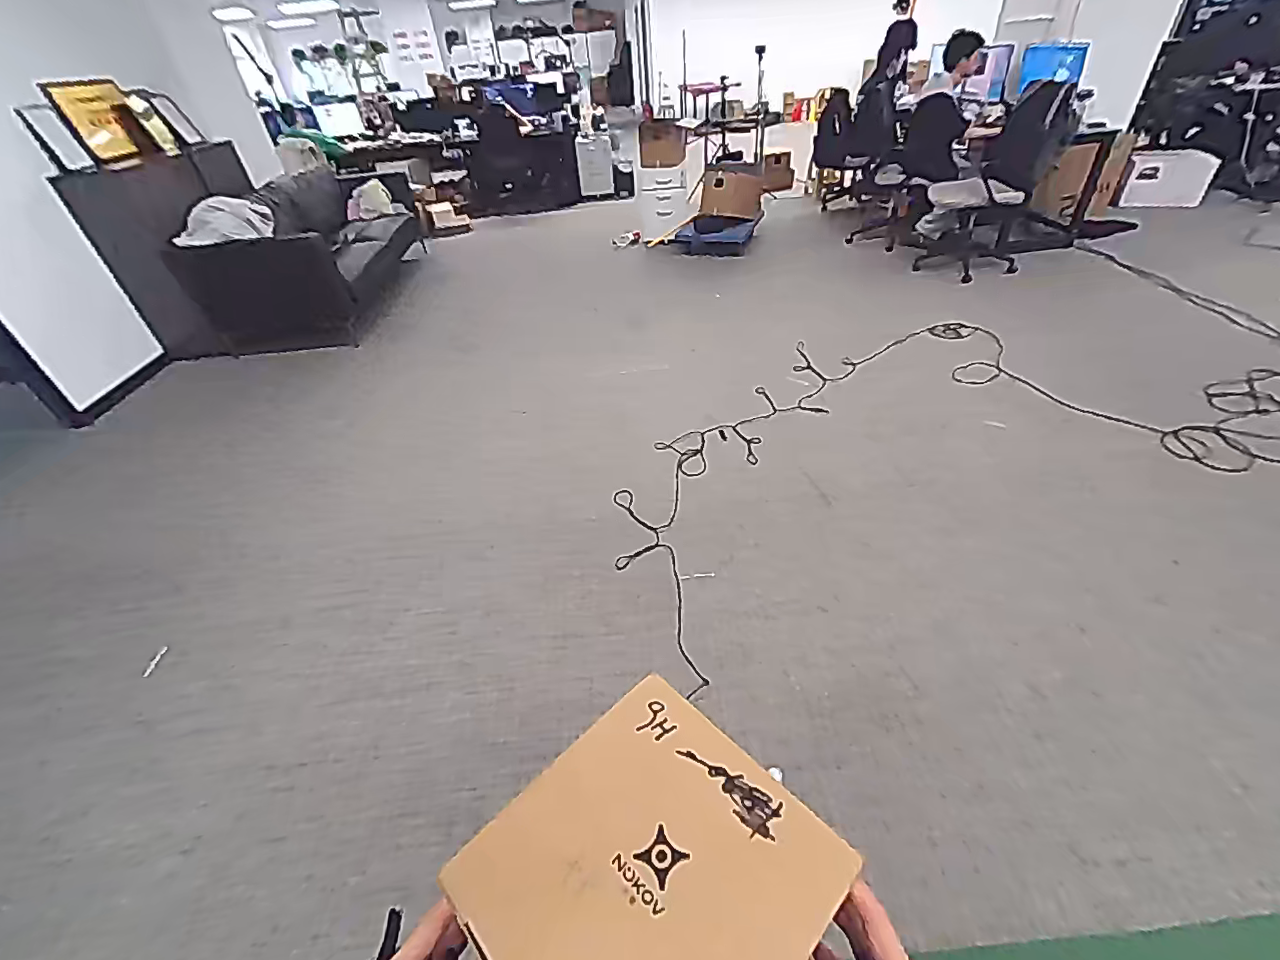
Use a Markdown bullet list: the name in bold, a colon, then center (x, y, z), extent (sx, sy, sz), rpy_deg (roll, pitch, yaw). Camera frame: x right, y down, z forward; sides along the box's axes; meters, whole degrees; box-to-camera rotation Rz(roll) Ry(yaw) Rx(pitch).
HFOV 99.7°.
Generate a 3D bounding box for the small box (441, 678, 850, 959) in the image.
- **small box**: center (0.008, 0.279, 0.354), extent (0.179, 0.176, 0.168), rpy_deg (-34, 49, -31)
